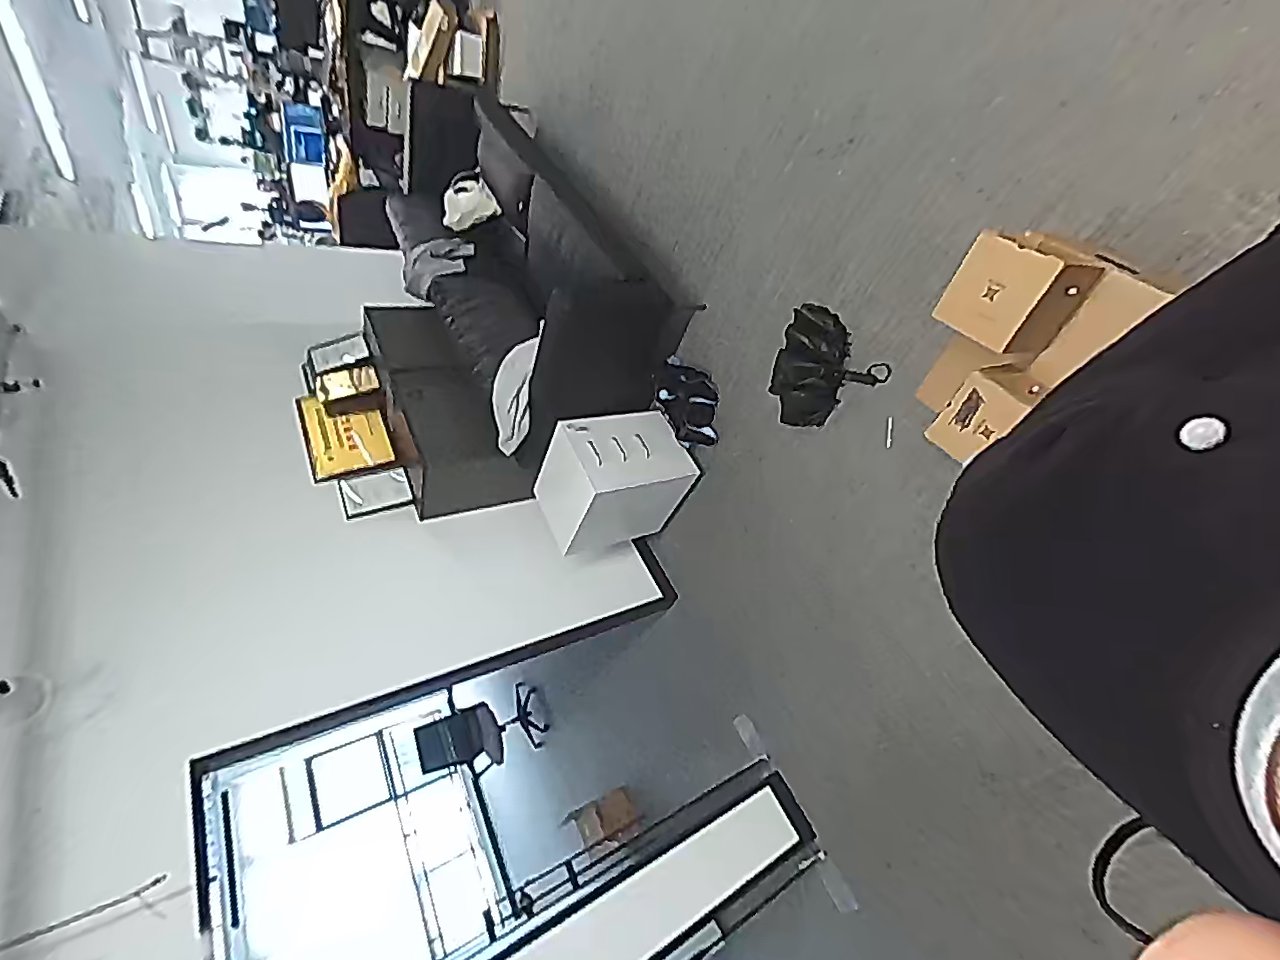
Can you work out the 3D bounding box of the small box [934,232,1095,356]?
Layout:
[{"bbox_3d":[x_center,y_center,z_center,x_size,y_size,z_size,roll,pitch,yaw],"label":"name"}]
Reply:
[{"bbox_3d":[0.726,-0.358,1.047,0.168,0.176,0.179,54,141,39],"label":"small box"}]

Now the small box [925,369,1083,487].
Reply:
[{"bbox_3d":[0.738,-0.113,1.102,0.179,0.176,0.168,51,139,31],"label":"small box"}]
